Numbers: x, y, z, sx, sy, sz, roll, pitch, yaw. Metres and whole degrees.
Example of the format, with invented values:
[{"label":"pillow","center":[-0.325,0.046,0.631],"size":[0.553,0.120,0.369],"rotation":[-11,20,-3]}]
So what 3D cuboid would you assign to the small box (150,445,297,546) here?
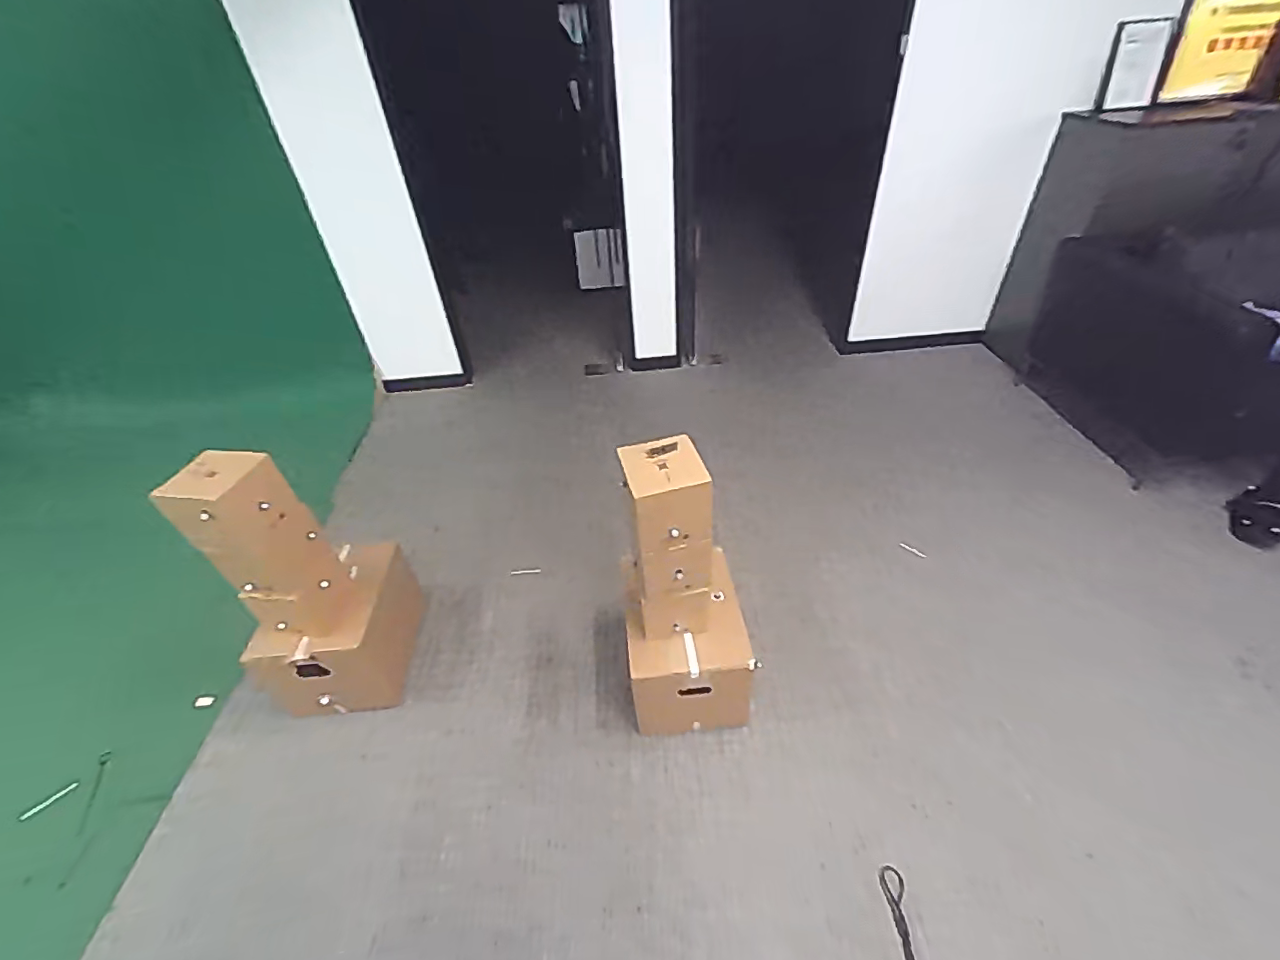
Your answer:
[{"label":"small box","center":[-0.956,0.037,1.263],"size":[0.179,0.176,0.168],"rotation":[3,41,11]}]

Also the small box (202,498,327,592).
[{"label":"small box","center":[-0.936,0.158,1.373],"size":[0.168,0.176,0.179],"rotation":[3,42,10]}]

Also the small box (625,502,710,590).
[{"label":"small box","center":[0.067,0.145,1.299],"size":[0.168,0.176,0.179],"rotation":[-12,42,-7]}]

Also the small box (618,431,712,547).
[{"label":"small box","center":[0.053,0.019,1.192],"size":[0.168,0.176,0.179],"rotation":[-13,42,-7]}]

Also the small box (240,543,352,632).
[{"label":"small box","center":[-0.920,0.287,1.472],"size":[0.168,0.176,0.179],"rotation":[1,41,7]}]

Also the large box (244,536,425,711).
[{"label":"large box","center":[-0.903,0.437,1.668],"size":[0.320,0.320,0.408],"rotation":[-6,40,-2]}]
